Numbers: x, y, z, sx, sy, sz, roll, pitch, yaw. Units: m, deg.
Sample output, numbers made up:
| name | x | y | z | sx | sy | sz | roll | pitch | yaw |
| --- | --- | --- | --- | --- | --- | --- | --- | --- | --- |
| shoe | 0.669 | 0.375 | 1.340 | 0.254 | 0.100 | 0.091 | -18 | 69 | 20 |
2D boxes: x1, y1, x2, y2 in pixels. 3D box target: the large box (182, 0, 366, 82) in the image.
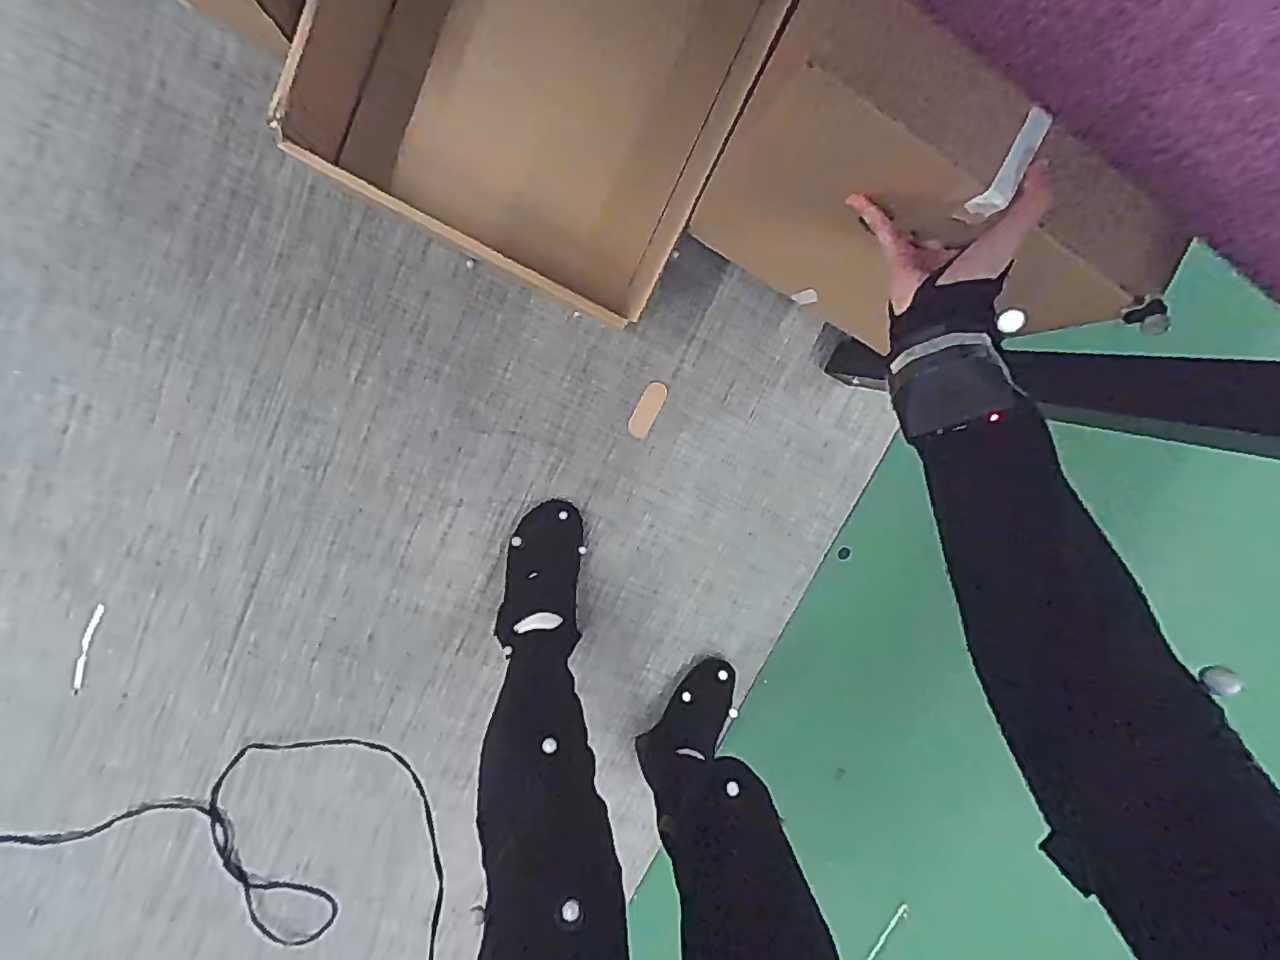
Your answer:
| name | x | y | z | sx | sy | sz | roll | pitch | yaw |
| --- | --- | --- | --- | --- | --- | --- | --- | --- | --- |
| large box | -0.388 | -0.667 | 0.441 | 0.320 | 0.320 | 0.408 | 23 | 101 | -16 |
